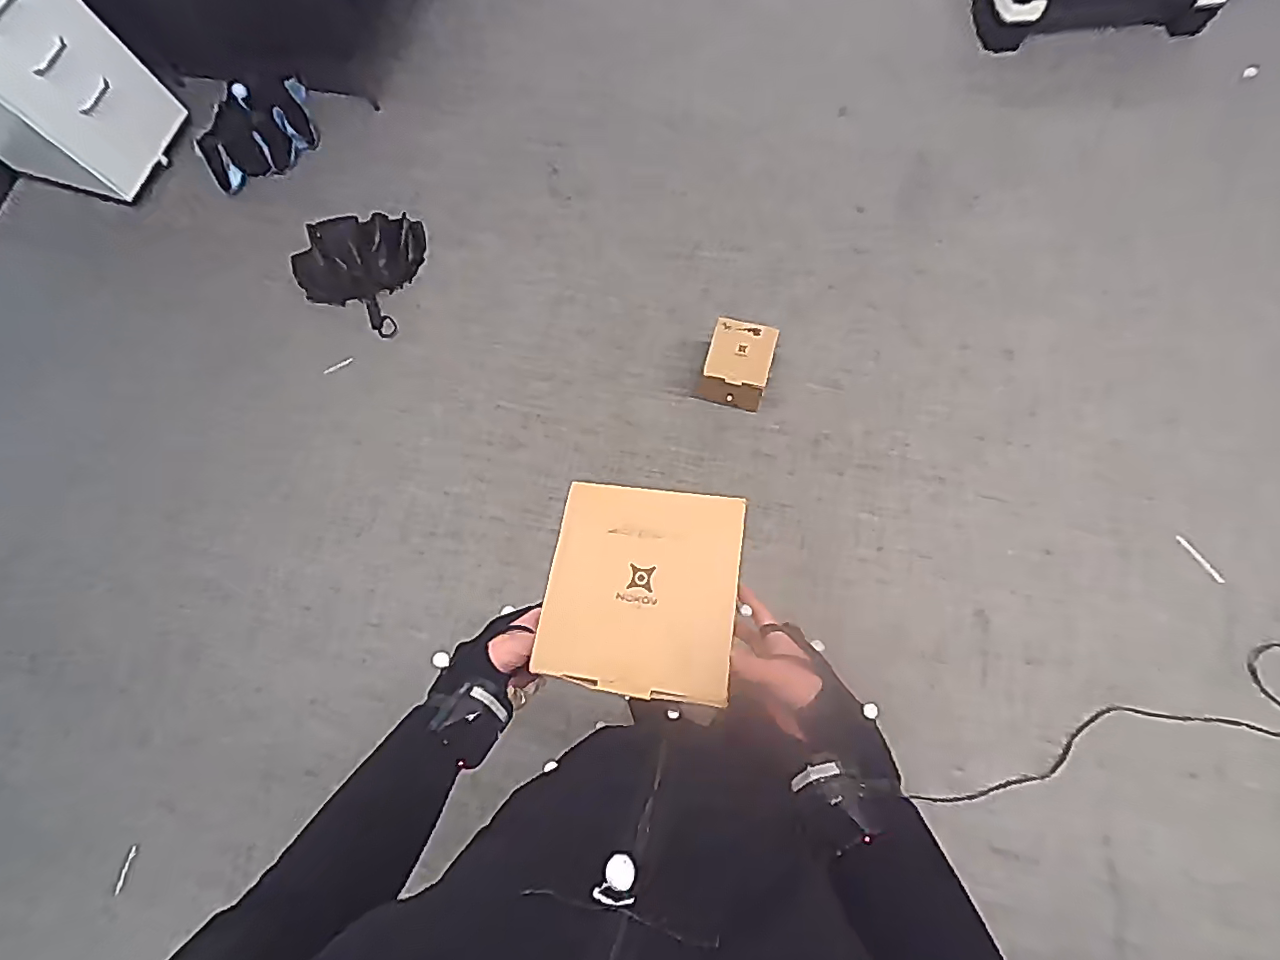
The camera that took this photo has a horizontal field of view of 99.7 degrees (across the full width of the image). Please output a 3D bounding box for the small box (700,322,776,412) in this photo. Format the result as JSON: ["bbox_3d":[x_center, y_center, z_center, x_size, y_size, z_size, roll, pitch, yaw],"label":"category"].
[{"bbox_3d":[0.267,-0.305,1.494,0.168,0.176,0.179,14,77,8],"label":"small box"}]

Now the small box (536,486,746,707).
[{"bbox_3d":[0.014,0.124,0.545,0.168,0.176,0.179,6,66,10],"label":"small box"}]
